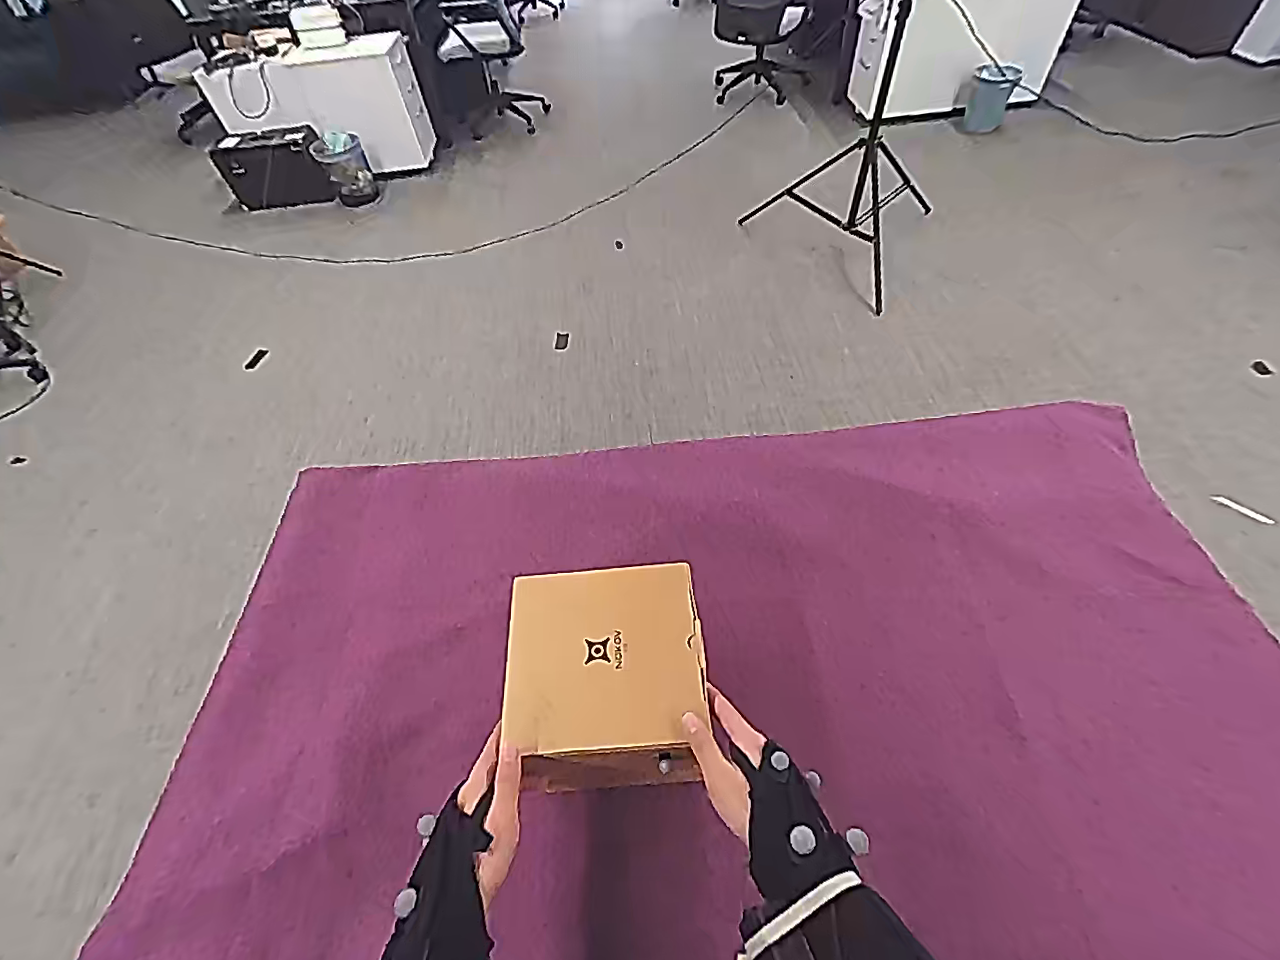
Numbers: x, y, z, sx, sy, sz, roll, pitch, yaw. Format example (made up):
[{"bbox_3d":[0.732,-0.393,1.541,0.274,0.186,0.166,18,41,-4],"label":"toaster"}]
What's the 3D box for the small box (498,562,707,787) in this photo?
[{"bbox_3d":[-0.027,0.202,0.550,0.179,0.176,0.168,-5,51,1],"label":"small box"}]
